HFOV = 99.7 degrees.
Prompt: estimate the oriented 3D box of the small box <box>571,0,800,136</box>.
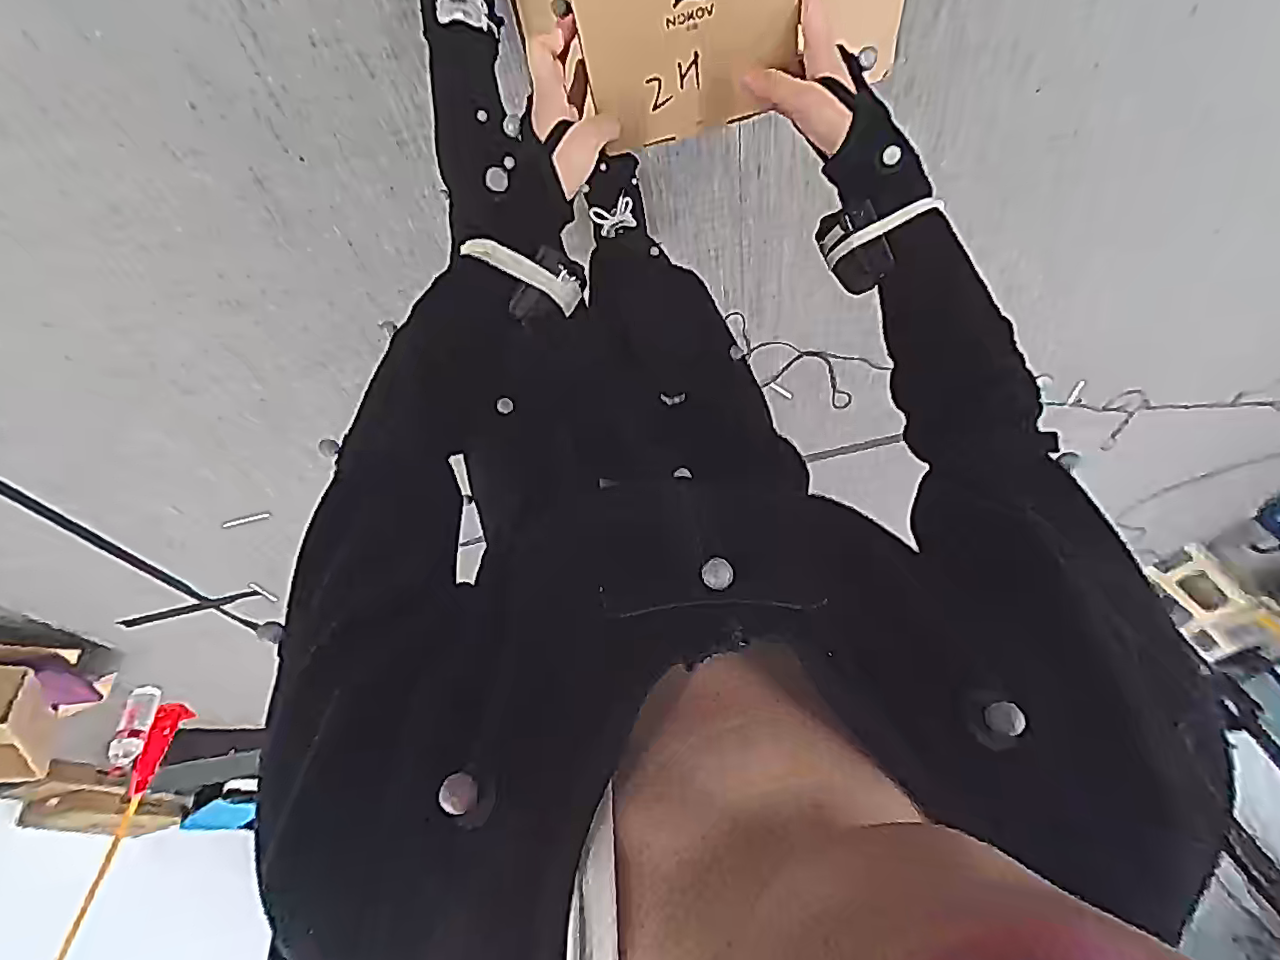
[{"bbox_3d":[0.024,-0.419,0.439,0.168,0.176,0.179,-13,139,4],"label":"small box"}]
